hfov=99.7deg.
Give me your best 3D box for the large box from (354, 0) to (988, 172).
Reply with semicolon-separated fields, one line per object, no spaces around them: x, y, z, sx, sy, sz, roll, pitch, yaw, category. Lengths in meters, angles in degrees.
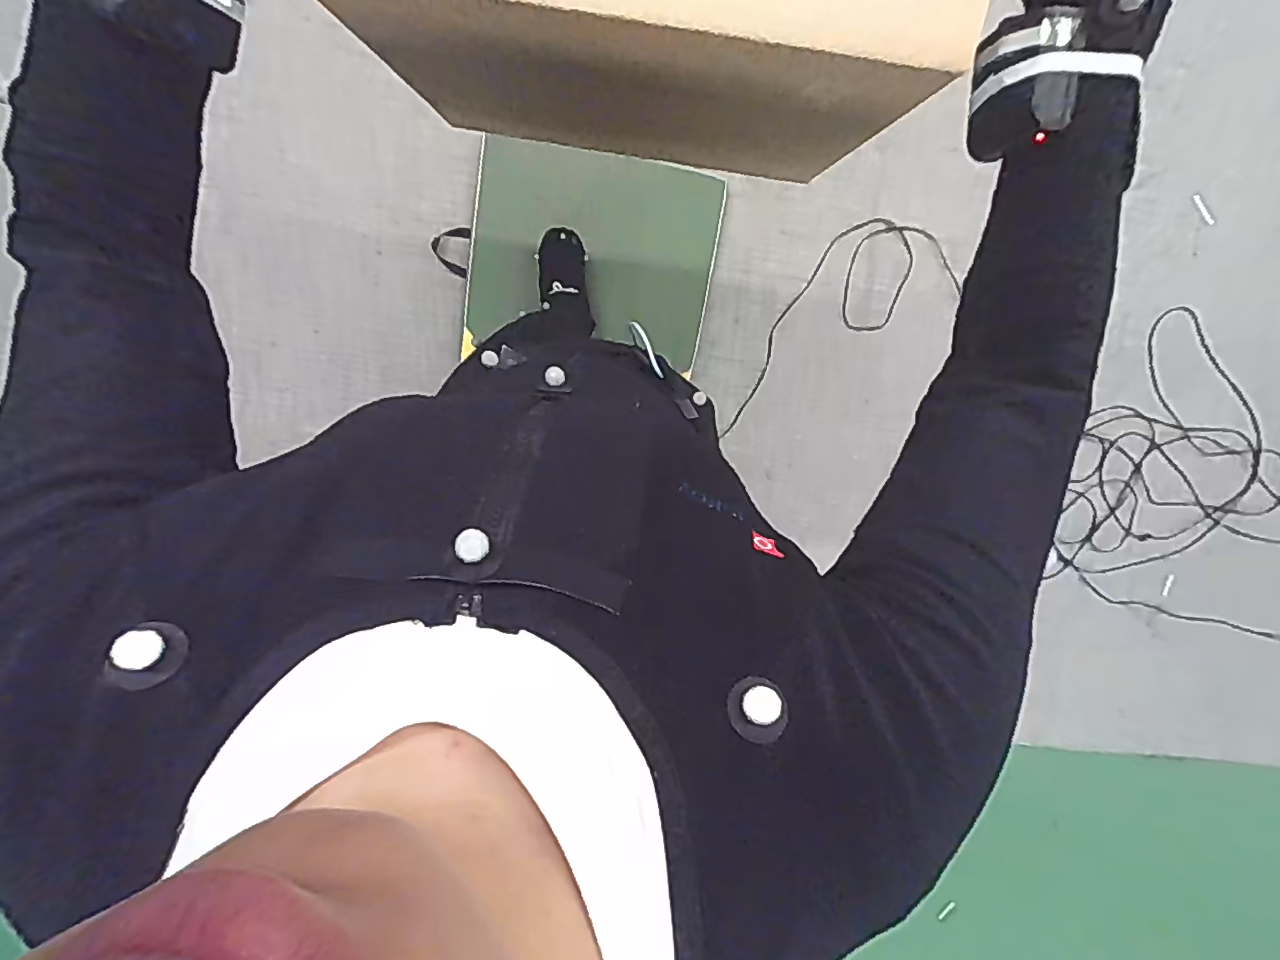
0.018;-0.465;0.414;0.408;0.320;0.320;7;108;-4;large box
